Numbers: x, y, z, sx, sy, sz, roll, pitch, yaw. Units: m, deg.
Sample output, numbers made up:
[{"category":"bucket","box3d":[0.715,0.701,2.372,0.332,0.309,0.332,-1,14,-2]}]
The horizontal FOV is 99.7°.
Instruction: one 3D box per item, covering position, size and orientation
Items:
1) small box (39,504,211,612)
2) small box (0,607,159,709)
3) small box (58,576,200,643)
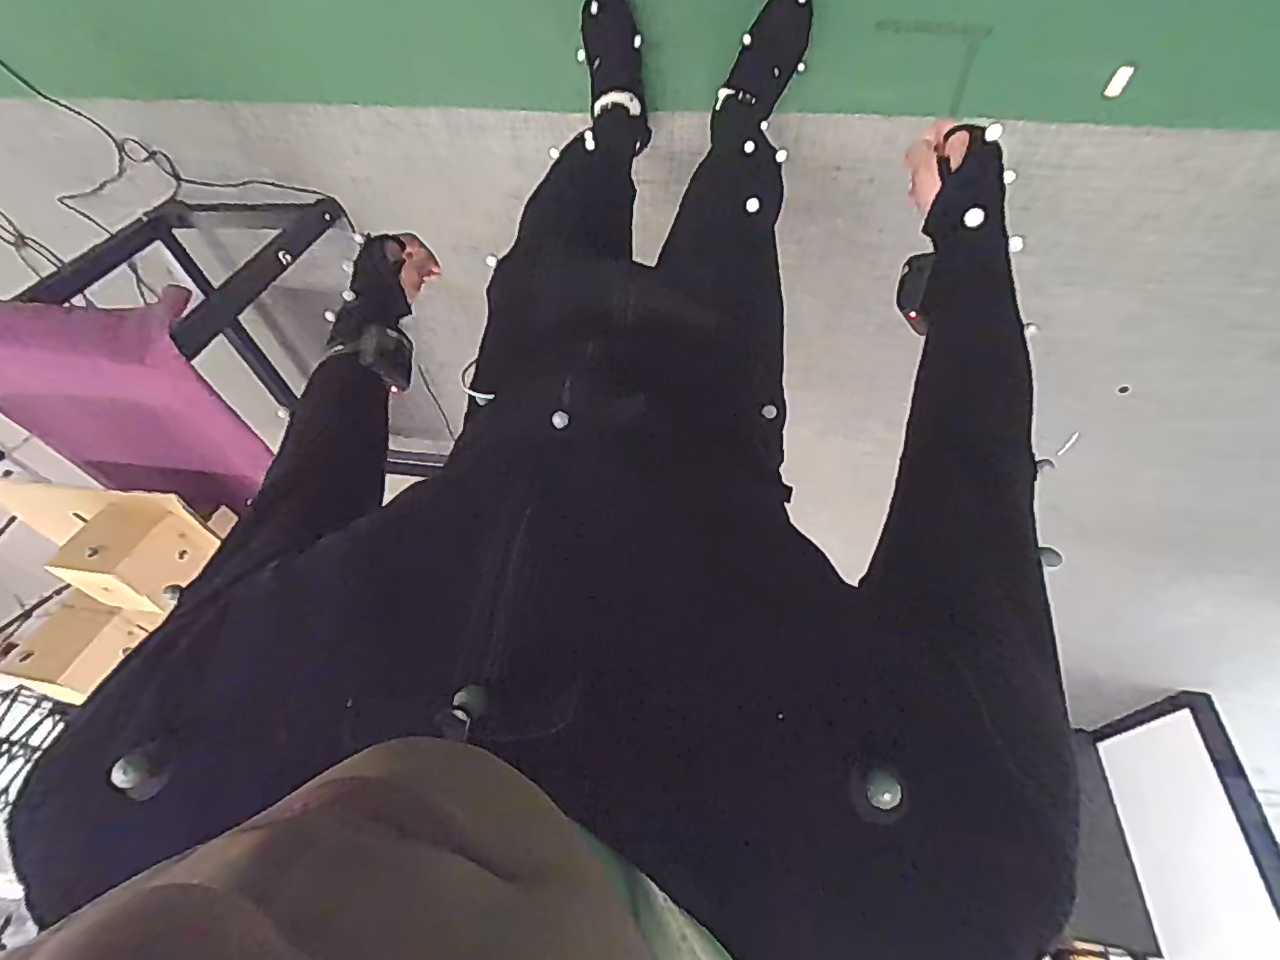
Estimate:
[{"category":"small box","box3d":[-1.118,0.169,1.193,0.179,0.176,0.168,4,140,10]},{"category":"small box","box3d":[-1.315,0.417,1.276,0.179,0.176,0.168,4,139,10]},{"category":"small box","box3d":[-1.283,0.294,1.381,0.179,0.176,0.168,5,139,11]}]
